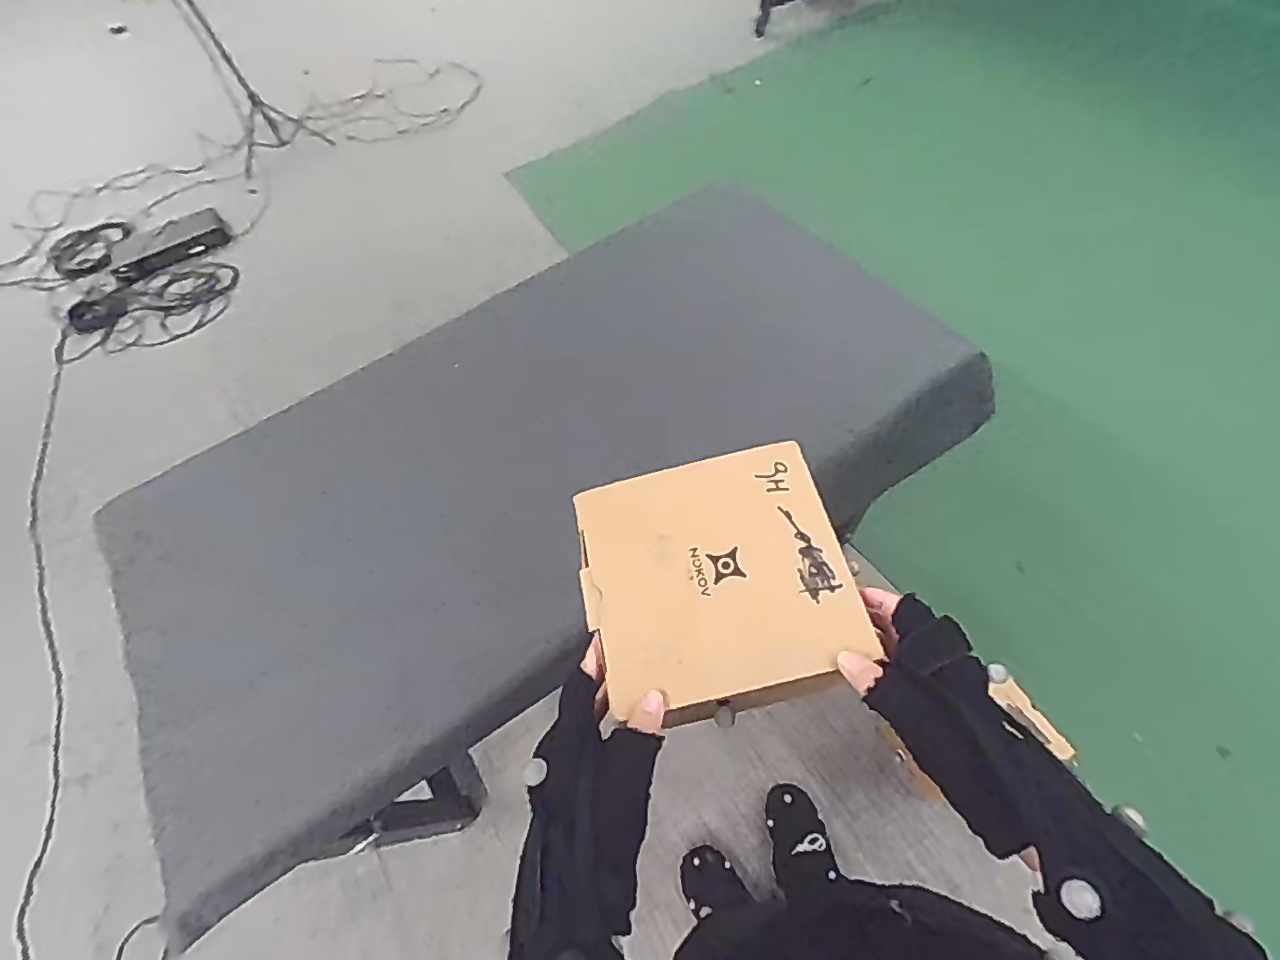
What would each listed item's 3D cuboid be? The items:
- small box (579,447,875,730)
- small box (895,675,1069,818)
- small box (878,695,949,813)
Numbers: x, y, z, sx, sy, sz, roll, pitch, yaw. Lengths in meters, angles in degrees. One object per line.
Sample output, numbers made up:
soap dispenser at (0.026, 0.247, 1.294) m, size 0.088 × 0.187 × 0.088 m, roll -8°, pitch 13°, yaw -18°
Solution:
small box at (0.061, 0.100, 0.444) m, size 0.179 × 0.176 × 0.168 m, roll -12°, pitch 62°, yaw 2°
small box at (0.603, 0.483, 0.981) m, size 0.179 × 0.176 × 0.168 m, roll -26°, pitch 59°, yaw -8°
small box at (0.630, 0.562, 1.124) m, size 0.179 × 0.176 × 0.168 m, roll -26°, pitch 59°, yaw -7°
